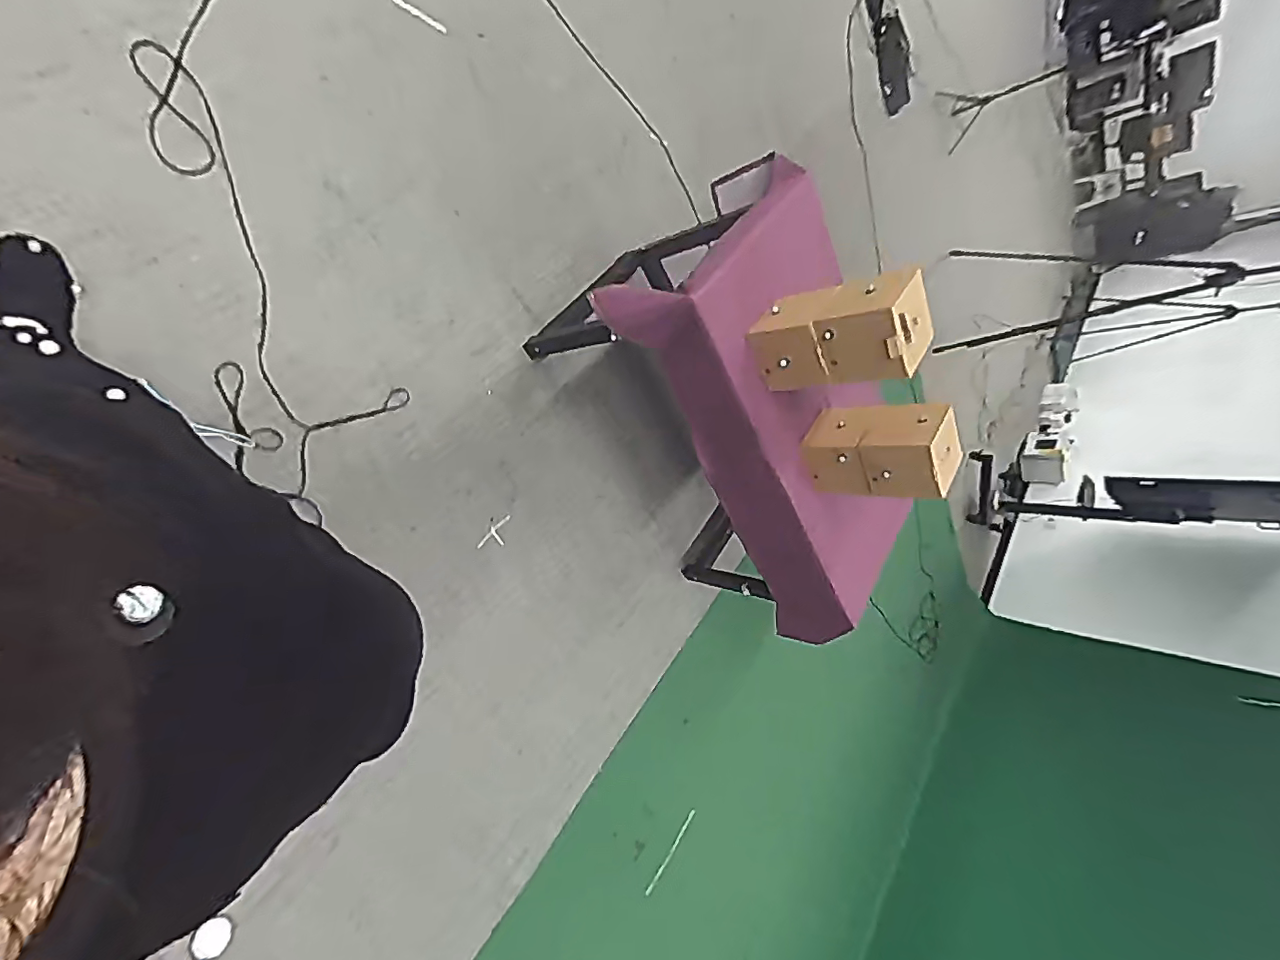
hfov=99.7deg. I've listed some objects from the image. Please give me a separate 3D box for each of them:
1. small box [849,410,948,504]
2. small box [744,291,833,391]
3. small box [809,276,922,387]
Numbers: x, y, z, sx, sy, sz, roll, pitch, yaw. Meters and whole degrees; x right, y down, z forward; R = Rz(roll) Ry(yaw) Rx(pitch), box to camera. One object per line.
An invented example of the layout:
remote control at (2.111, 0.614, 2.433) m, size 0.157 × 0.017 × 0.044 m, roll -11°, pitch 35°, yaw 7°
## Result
small box at (0.650, -0.062, 1.361) m, size 0.179 × 0.176 × 0.168 m, roll -47°, pitch 123°, yaw -30°
small box at (0.369, -0.325, 1.296) m, size 0.179 × 0.176 × 0.168 m, roll -49°, pitch 126°, yaw -29°
small box at (0.489, -0.317, 1.183) m, size 0.179 × 0.176 × 0.168 m, roll -49°, pitch 125°, yaw -31°
